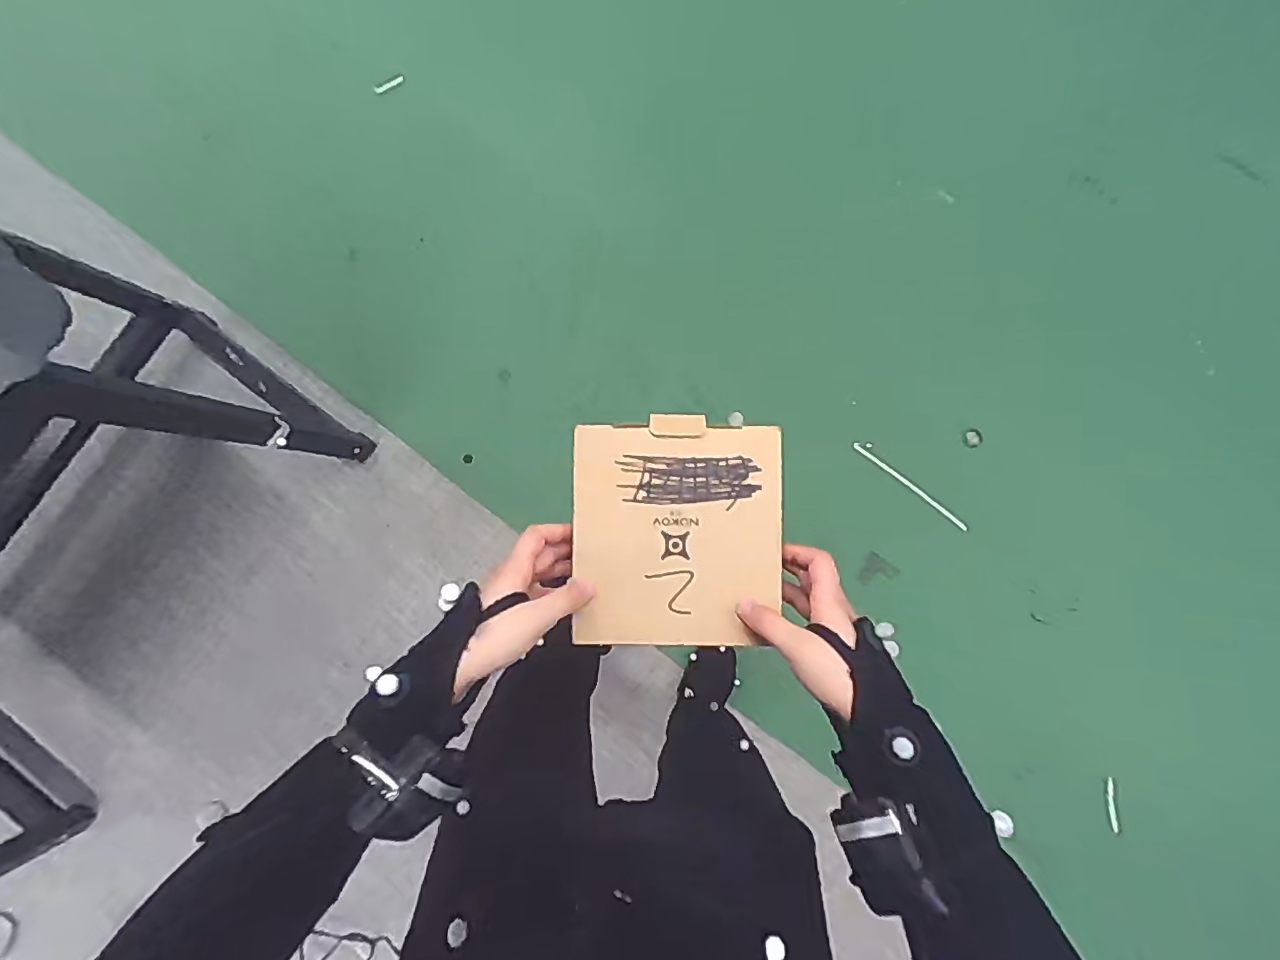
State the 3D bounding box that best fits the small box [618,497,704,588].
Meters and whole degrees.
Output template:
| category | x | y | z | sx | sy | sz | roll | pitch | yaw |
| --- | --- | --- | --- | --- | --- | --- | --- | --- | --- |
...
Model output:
| category | x | y | z | sx | sy | sz | roll | pitch | yaw |
| --- | --- | --- | --- | --- | --- | --- | --- | --- | --- |
| small box | 0.048 | 0.131 | 1.184 | 0.168 | 0.176 | 0.179 | -7 | 86 | 3 |
